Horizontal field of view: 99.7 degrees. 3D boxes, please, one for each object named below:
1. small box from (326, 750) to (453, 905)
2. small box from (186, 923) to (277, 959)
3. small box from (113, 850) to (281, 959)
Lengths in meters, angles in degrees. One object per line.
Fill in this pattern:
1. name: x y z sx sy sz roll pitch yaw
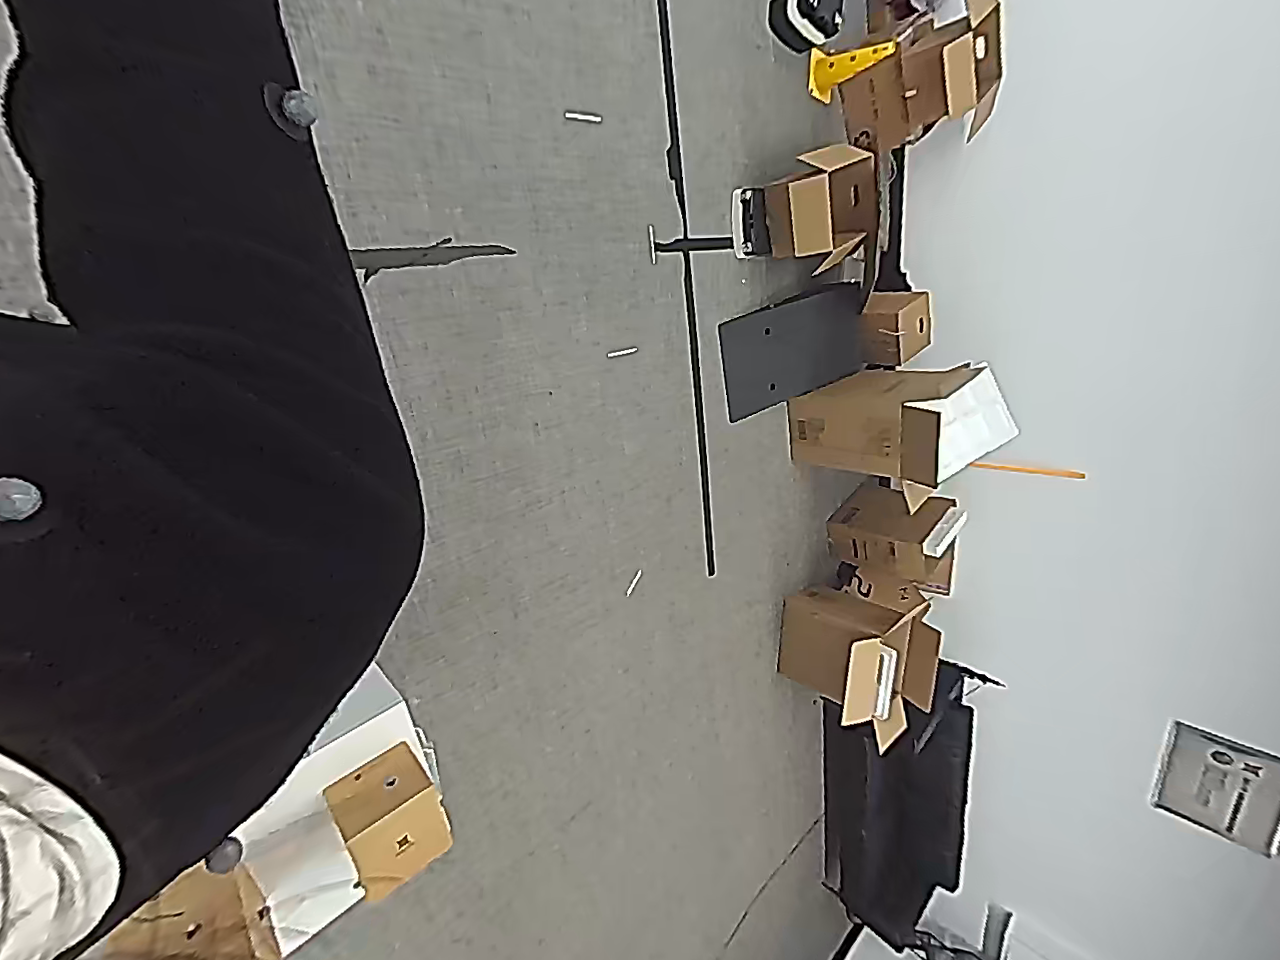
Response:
1. small box: -0.507 0.683 1.093 0.168 0.176 0.179 -23 116 -38
2. small box: -0.615 0.803 0.782 0.168 0.176 0.179 -26 118 -38
3. small box: -0.729 0.774 0.898 0.168 0.176 0.179 -28 119 -38
